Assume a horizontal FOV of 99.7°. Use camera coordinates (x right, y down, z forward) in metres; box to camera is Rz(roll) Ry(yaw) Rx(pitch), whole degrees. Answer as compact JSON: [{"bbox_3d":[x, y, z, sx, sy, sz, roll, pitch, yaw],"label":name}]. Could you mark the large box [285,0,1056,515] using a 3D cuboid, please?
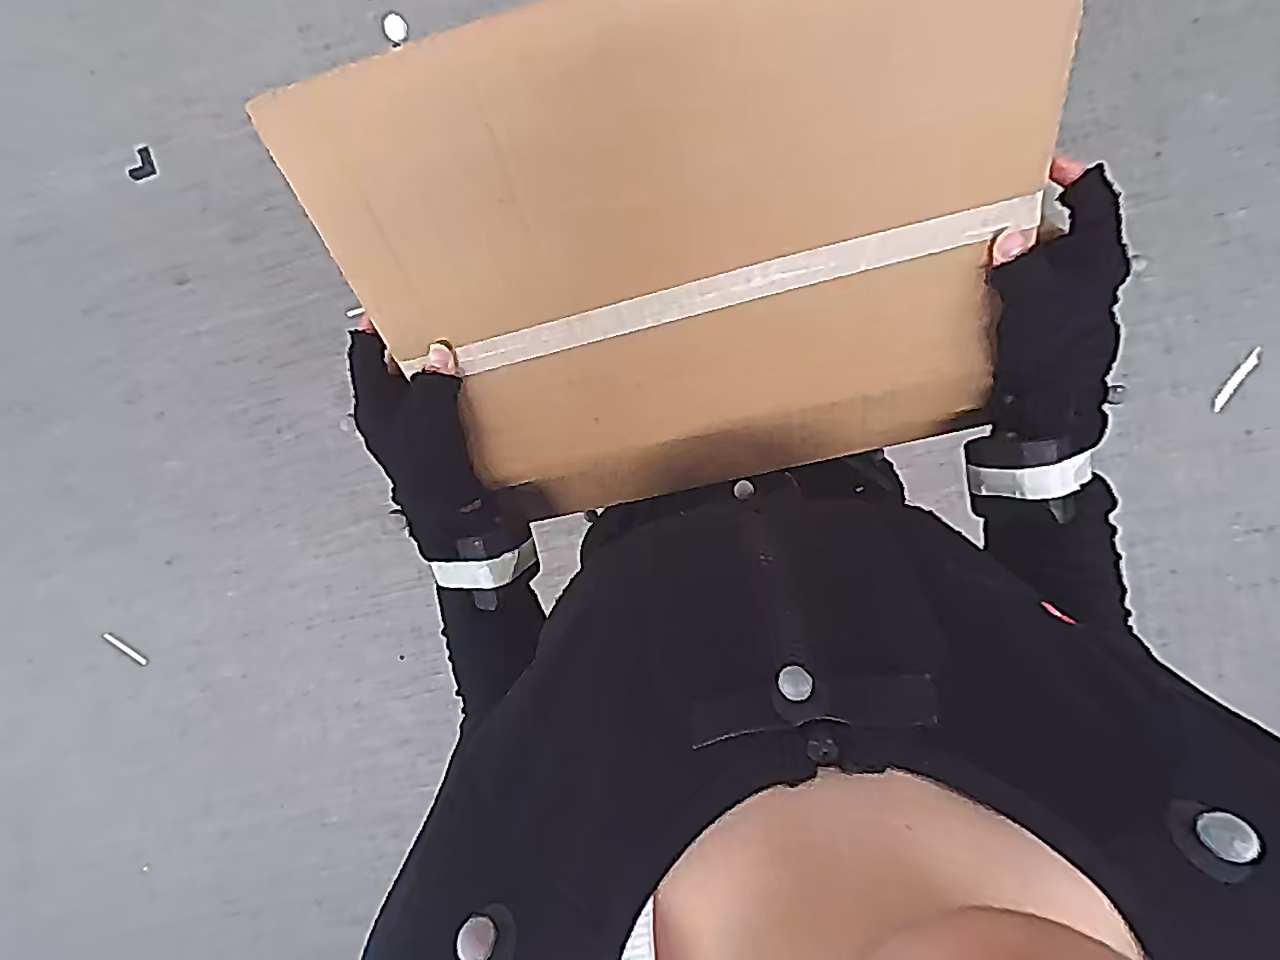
[{"bbox_3d":[0.029,-0.217,0.467,0.408,0.320,0.320,-12,131,7],"label":"large box"}]
